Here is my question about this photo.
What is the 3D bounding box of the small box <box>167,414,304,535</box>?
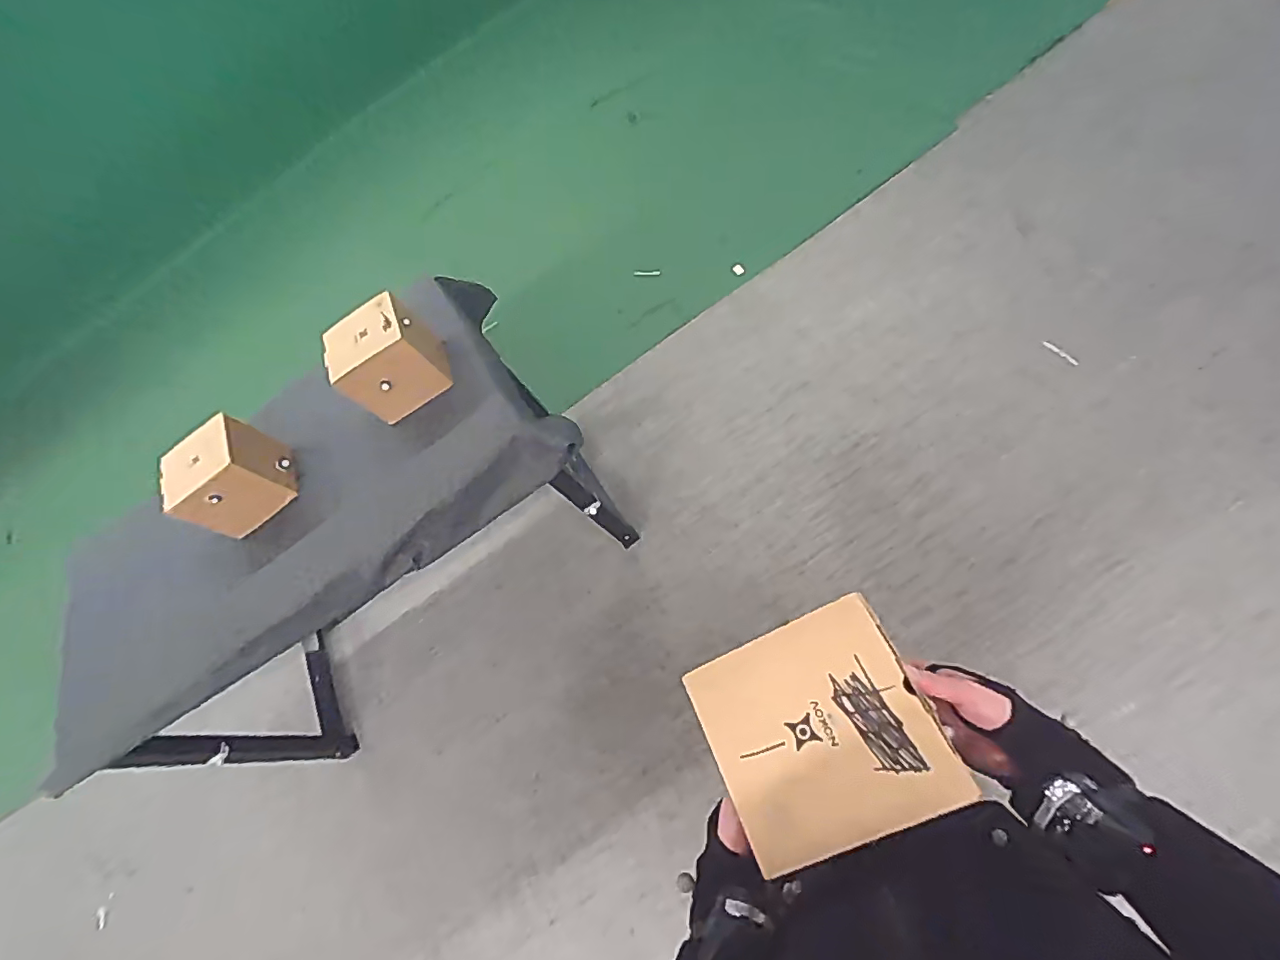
[{"bbox_3d":[-0.888,-0.005,1.193,0.179,0.176,0.168,-36,59,1],"label":"small box"}]

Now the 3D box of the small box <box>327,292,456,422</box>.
[{"bbox_3d":[-0.533,-0.257,1.167,0.179,0.176,0.168,-32,59,6],"label":"small box"}]
